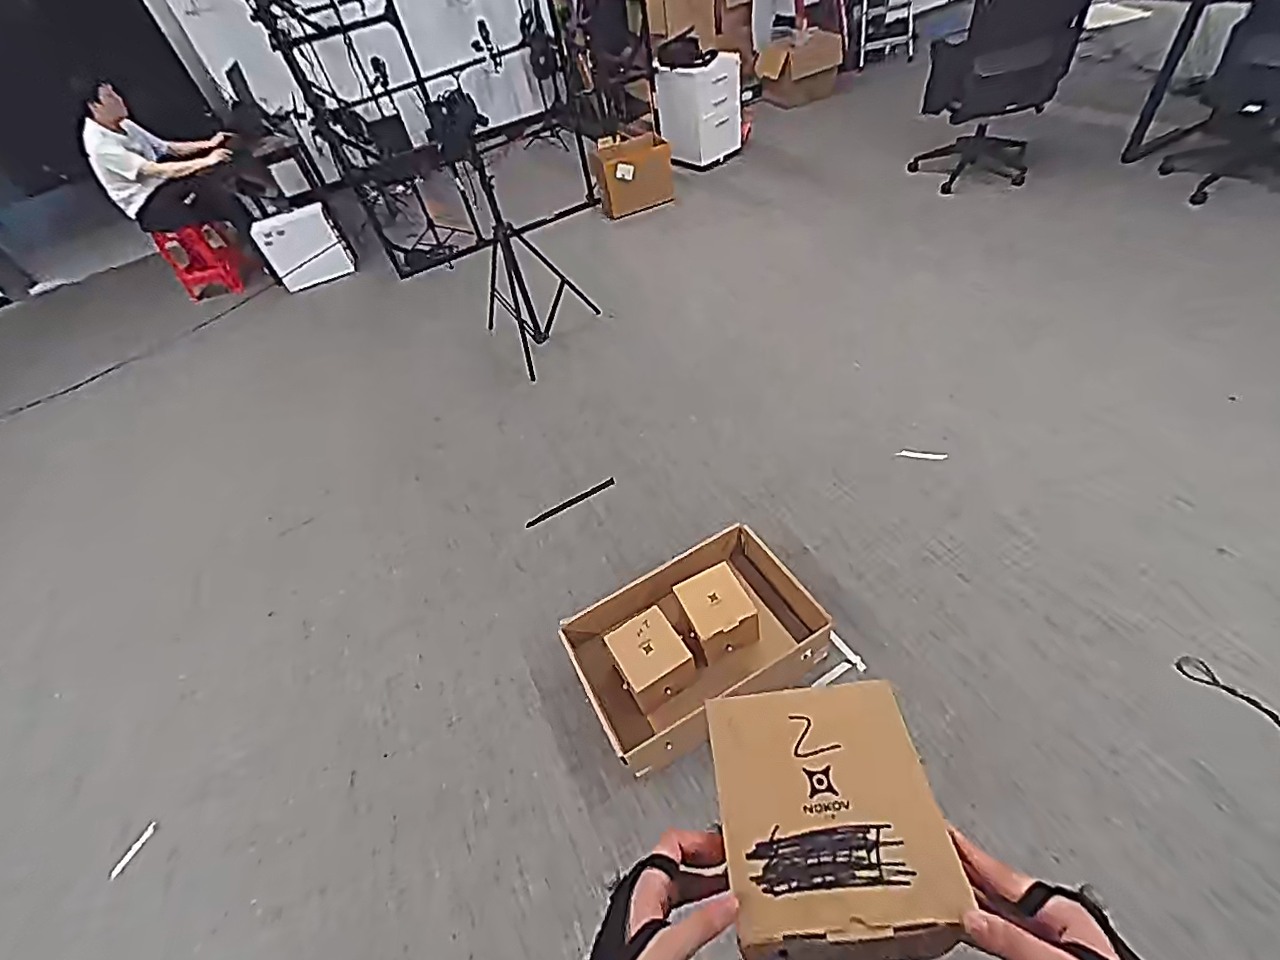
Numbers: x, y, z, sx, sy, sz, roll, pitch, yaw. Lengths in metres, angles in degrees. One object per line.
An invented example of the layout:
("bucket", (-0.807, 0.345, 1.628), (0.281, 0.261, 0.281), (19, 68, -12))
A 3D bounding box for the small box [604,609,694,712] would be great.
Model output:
("small box", (0.029, 0.479, 1.415), (0.168, 0.176, 0.179), (-28, 49, -15))

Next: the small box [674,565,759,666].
("small box", (0.208, 0.371, 1.476), (0.168, 0.176, 0.179), (-24, 48, -8))
